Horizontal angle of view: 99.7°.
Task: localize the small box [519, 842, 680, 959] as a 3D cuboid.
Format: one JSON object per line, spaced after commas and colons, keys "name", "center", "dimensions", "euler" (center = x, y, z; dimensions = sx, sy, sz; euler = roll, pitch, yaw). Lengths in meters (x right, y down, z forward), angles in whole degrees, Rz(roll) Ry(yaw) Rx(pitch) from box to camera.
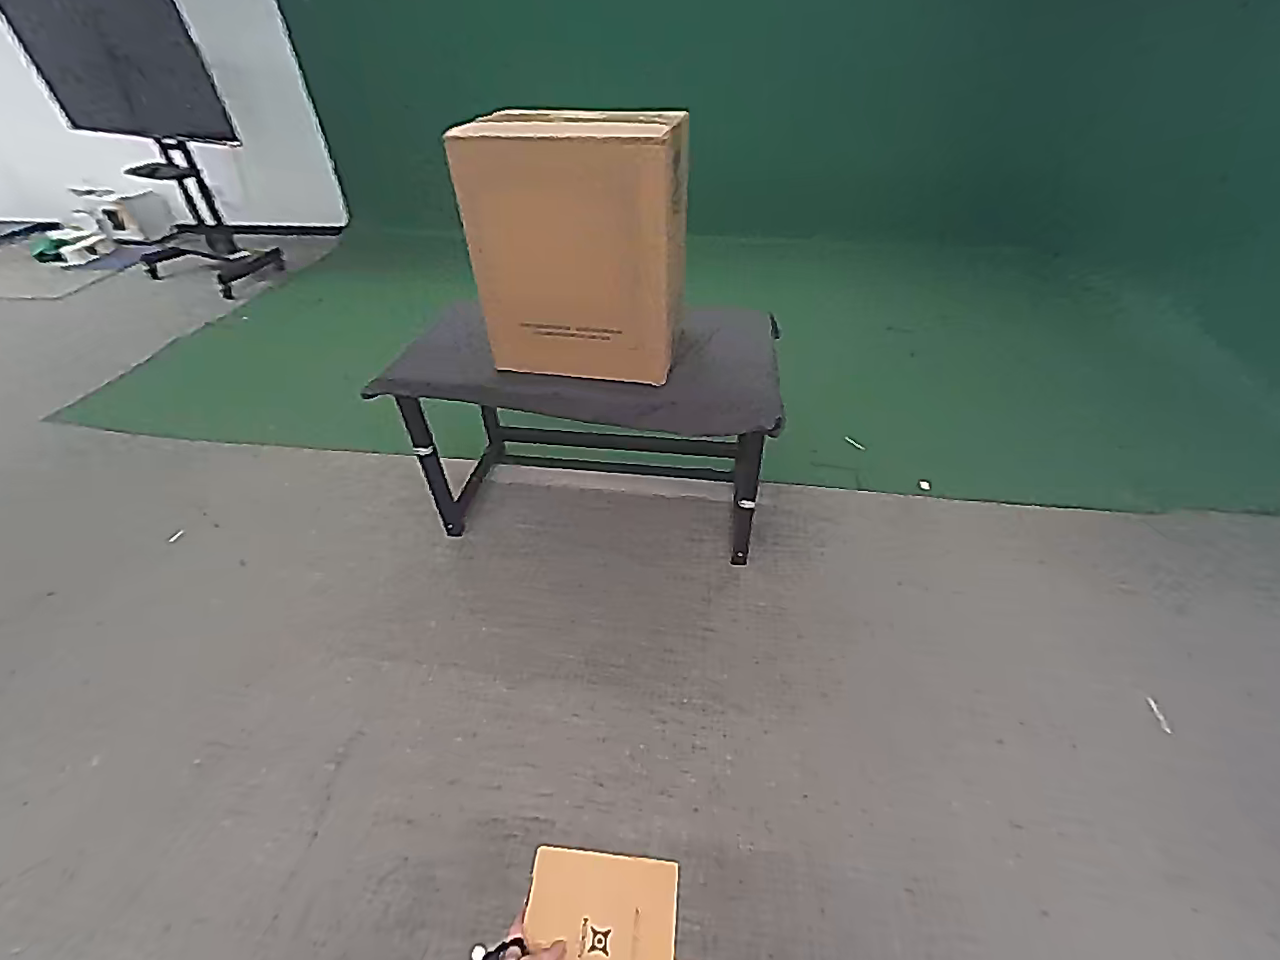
{"name": "small box", "center": [-0.044, 0.566, 0.664], "dimensions": [0.179, 0.176, 0.168], "euler": [4, 47, 3]}
